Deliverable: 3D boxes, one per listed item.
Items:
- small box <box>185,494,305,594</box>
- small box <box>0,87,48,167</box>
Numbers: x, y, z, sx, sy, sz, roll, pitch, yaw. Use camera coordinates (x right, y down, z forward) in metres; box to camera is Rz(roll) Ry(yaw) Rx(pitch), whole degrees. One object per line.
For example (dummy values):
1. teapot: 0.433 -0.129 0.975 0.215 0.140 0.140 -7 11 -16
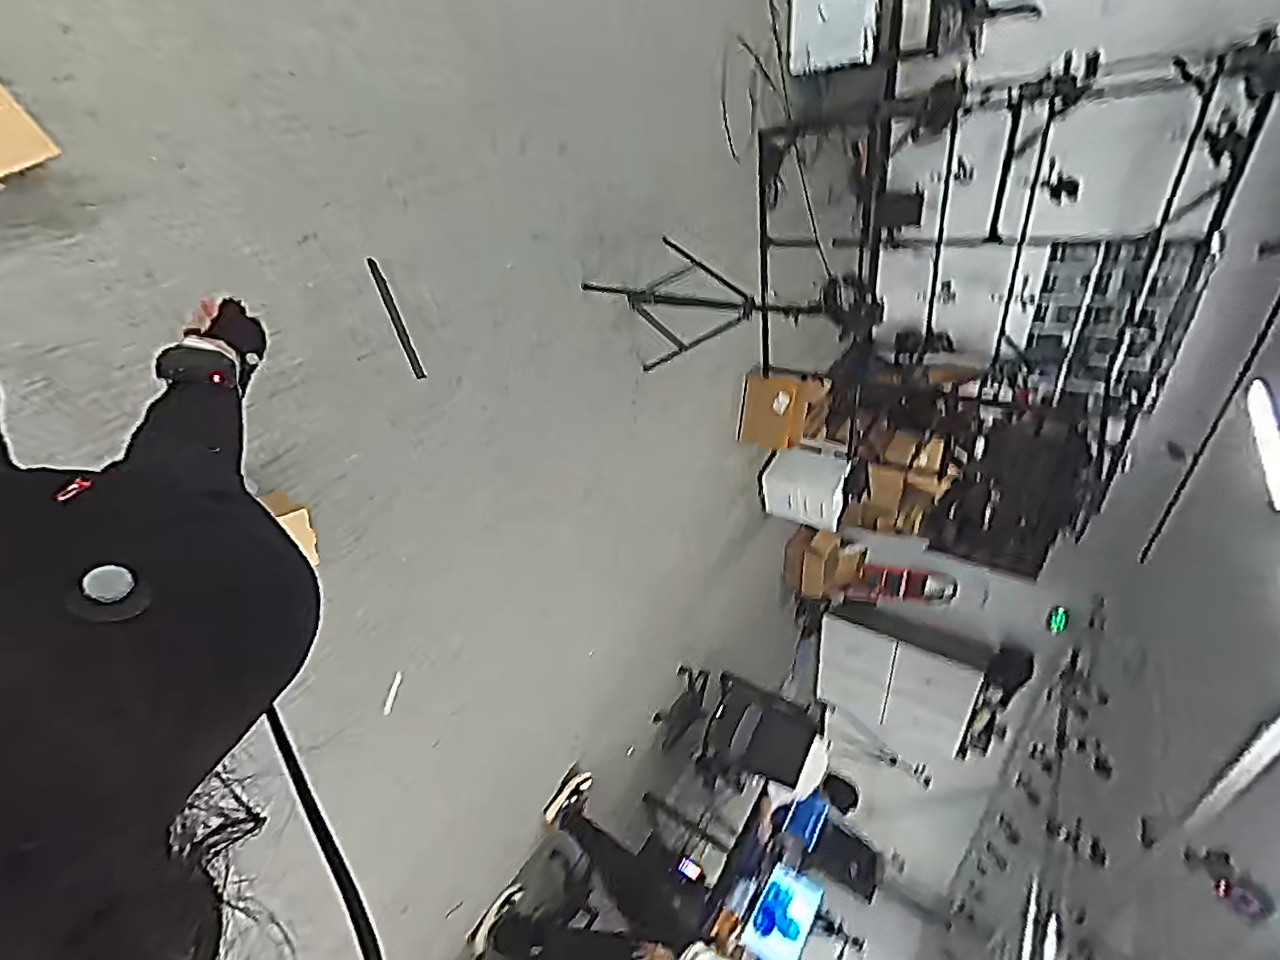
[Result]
1. small box: -0.973 0.149 1.338 0.179 0.176 0.168 -26 125 -50
2. small box: -1.097 -0.567 0.832 0.179 0.176 0.168 -52 142 -31
